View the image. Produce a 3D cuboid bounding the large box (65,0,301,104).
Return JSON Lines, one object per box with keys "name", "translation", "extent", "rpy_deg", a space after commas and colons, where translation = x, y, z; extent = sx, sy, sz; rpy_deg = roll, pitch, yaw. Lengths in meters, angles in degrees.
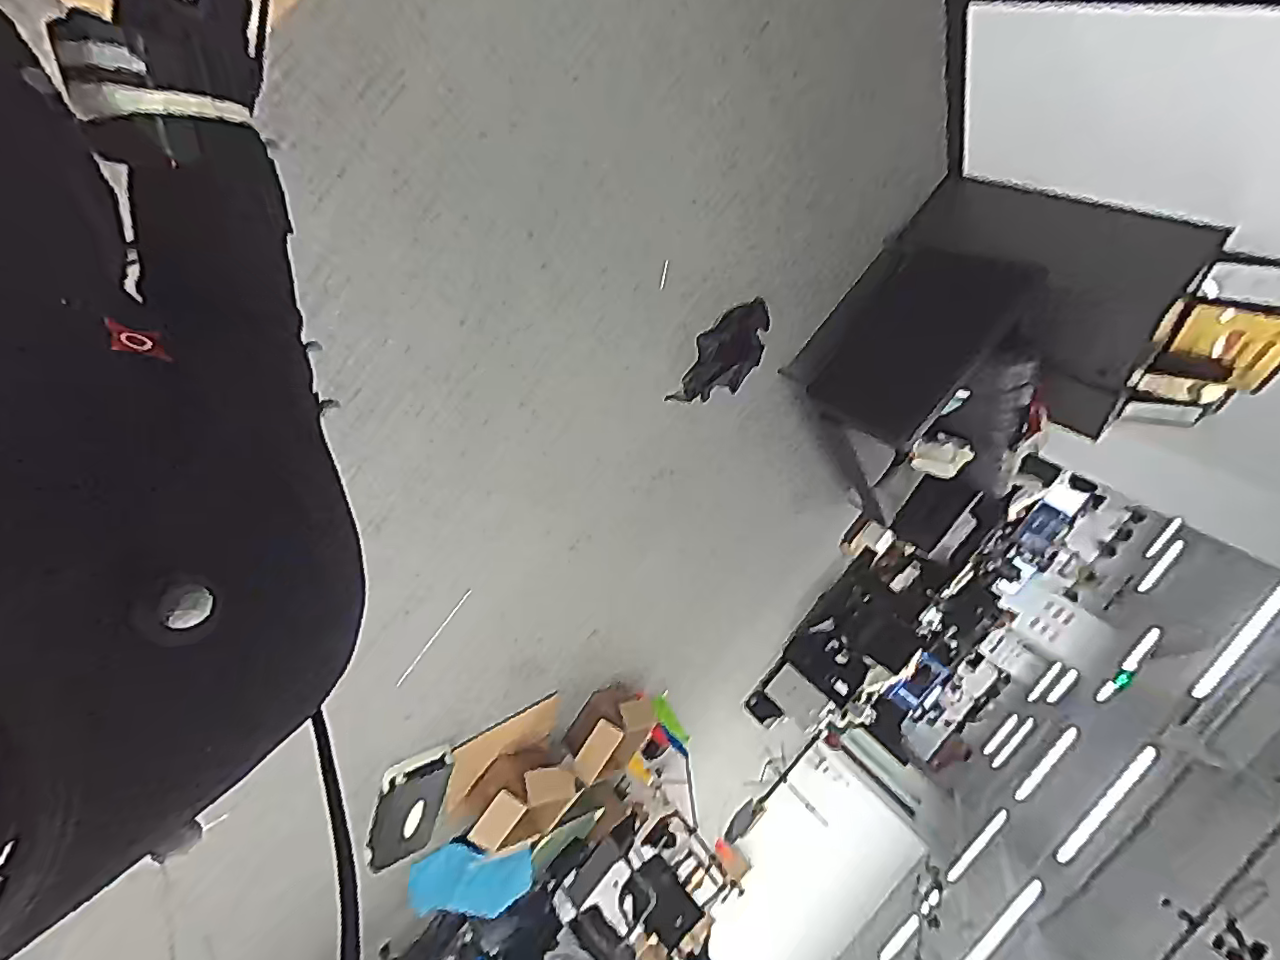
{"name": "large box", "translation": [-0.672, -0.769, 0.648], "extent": [0.320, 0.320, 0.408], "rpy_deg": [-47, 146, -3]}
